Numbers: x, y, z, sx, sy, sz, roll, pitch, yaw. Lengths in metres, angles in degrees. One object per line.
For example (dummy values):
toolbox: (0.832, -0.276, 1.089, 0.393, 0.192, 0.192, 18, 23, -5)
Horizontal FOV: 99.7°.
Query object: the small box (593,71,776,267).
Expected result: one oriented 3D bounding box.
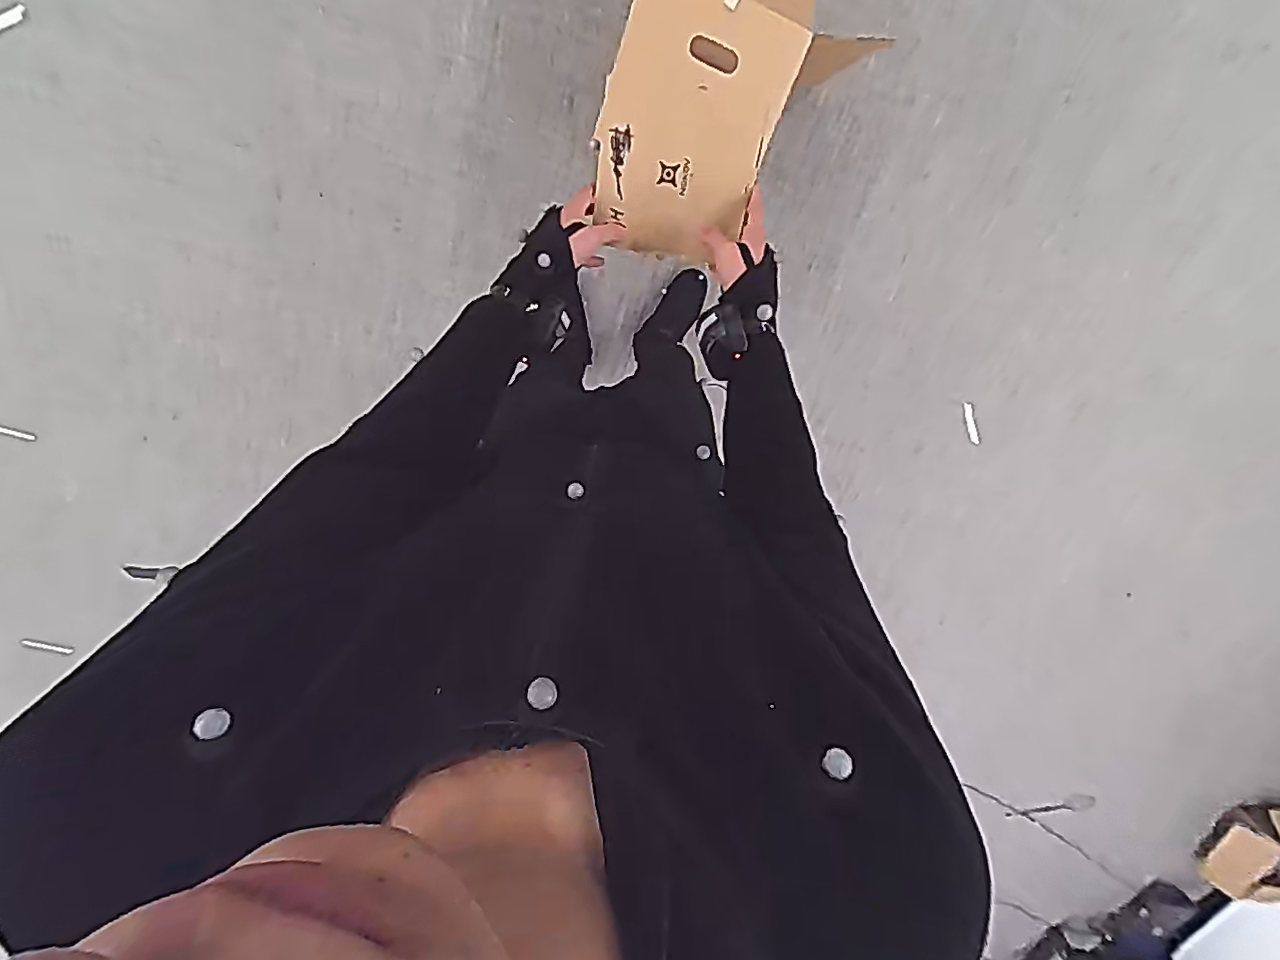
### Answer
small box: (0.045, -0.371, 0.661, 0.179, 0.176, 0.168, 8, 119, -3)
